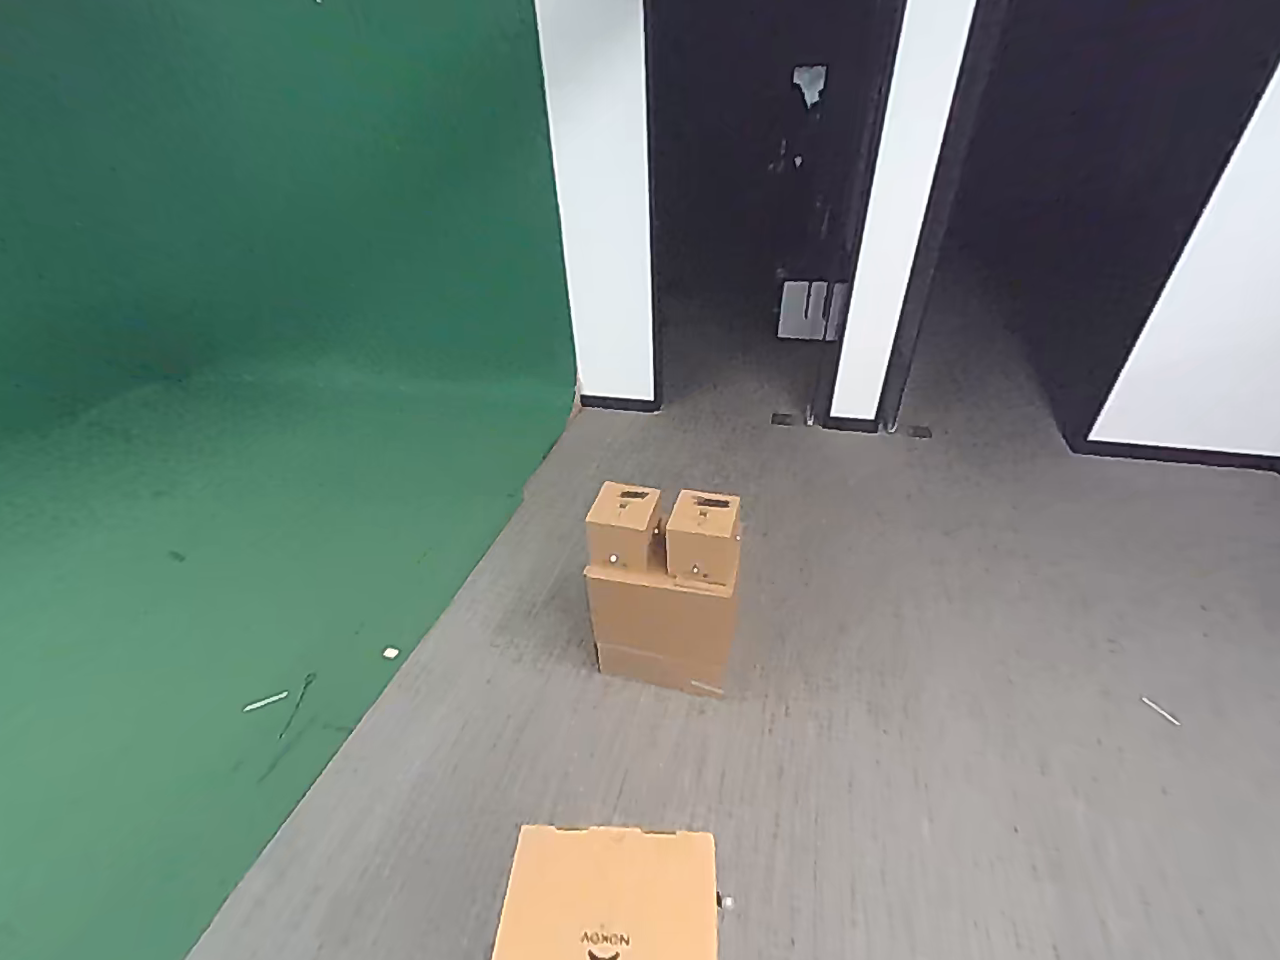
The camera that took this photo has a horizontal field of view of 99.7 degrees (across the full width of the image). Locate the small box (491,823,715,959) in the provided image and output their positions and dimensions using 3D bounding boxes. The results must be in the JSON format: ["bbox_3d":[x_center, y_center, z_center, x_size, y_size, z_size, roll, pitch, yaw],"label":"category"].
[{"bbox_3d":[-0.022,0.416,0.446,0.168,0.176,0.179,-1,37,6],"label":"small box"}]

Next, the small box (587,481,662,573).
[{"bbox_3d":[-0.039,0.131,1.513,0.168,0.176,0.179,9,40,13],"label":"small box"}]
